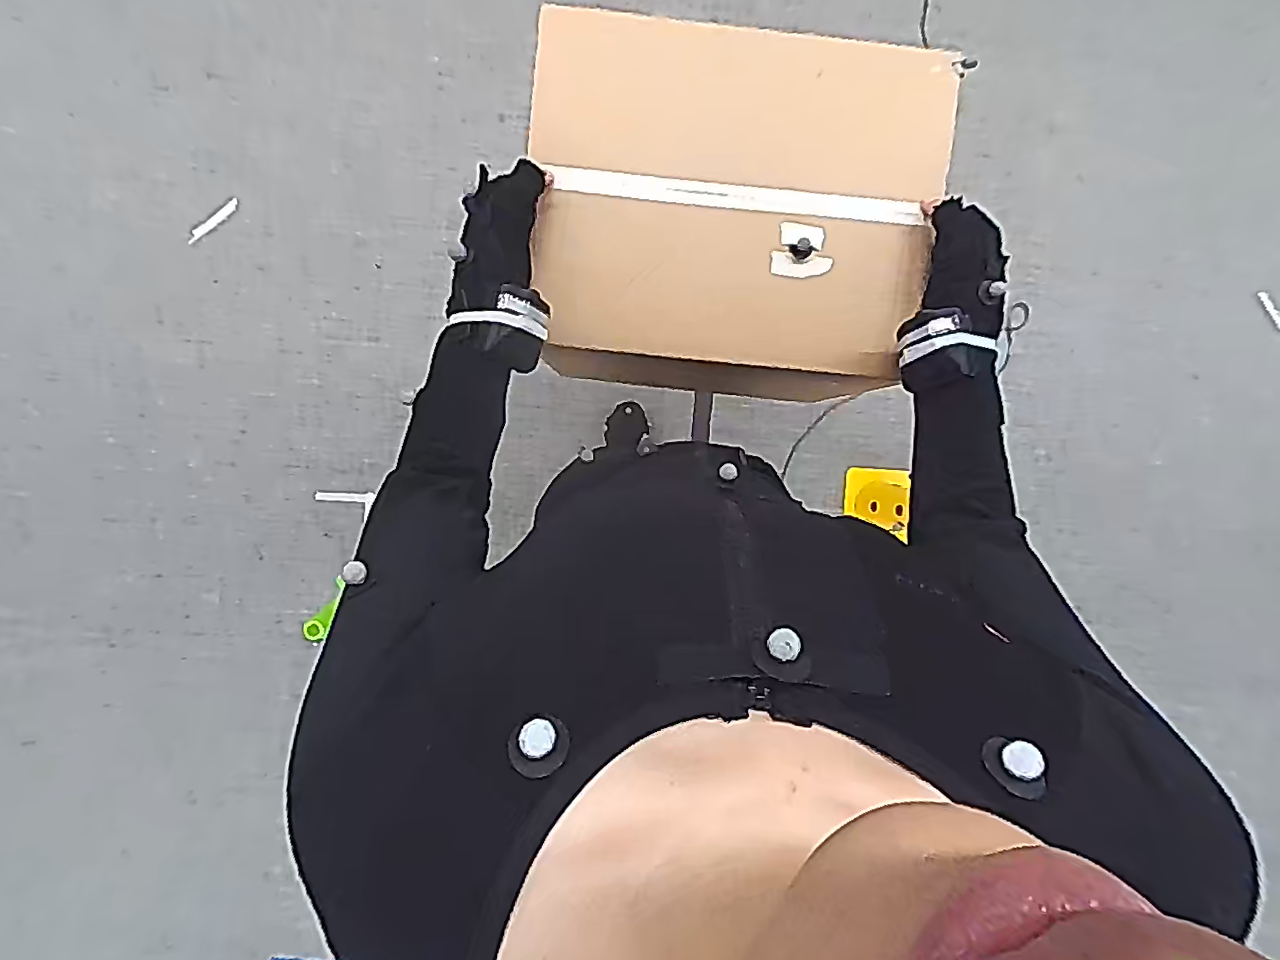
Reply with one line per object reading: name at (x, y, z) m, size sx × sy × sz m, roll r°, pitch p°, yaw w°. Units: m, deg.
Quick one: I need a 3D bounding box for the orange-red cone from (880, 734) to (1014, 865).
orange-red cone at (0.779, 0.811, 1.341) m, size 0.198 × 0.360 × 0.199 m, roll 2°, pitch 90°, yaw -3°

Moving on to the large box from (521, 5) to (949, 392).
large box at (0.085, -0.293, 0.674) m, size 0.408 × 0.320 × 0.320 m, roll 6°, pitch 95°, yaw -2°

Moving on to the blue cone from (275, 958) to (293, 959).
blue cone at (-0.911, 1.398, 1.301) m, size 0.192 × 0.380 × 0.193 m, roll 8°, pitch 91°, yaw -1°
